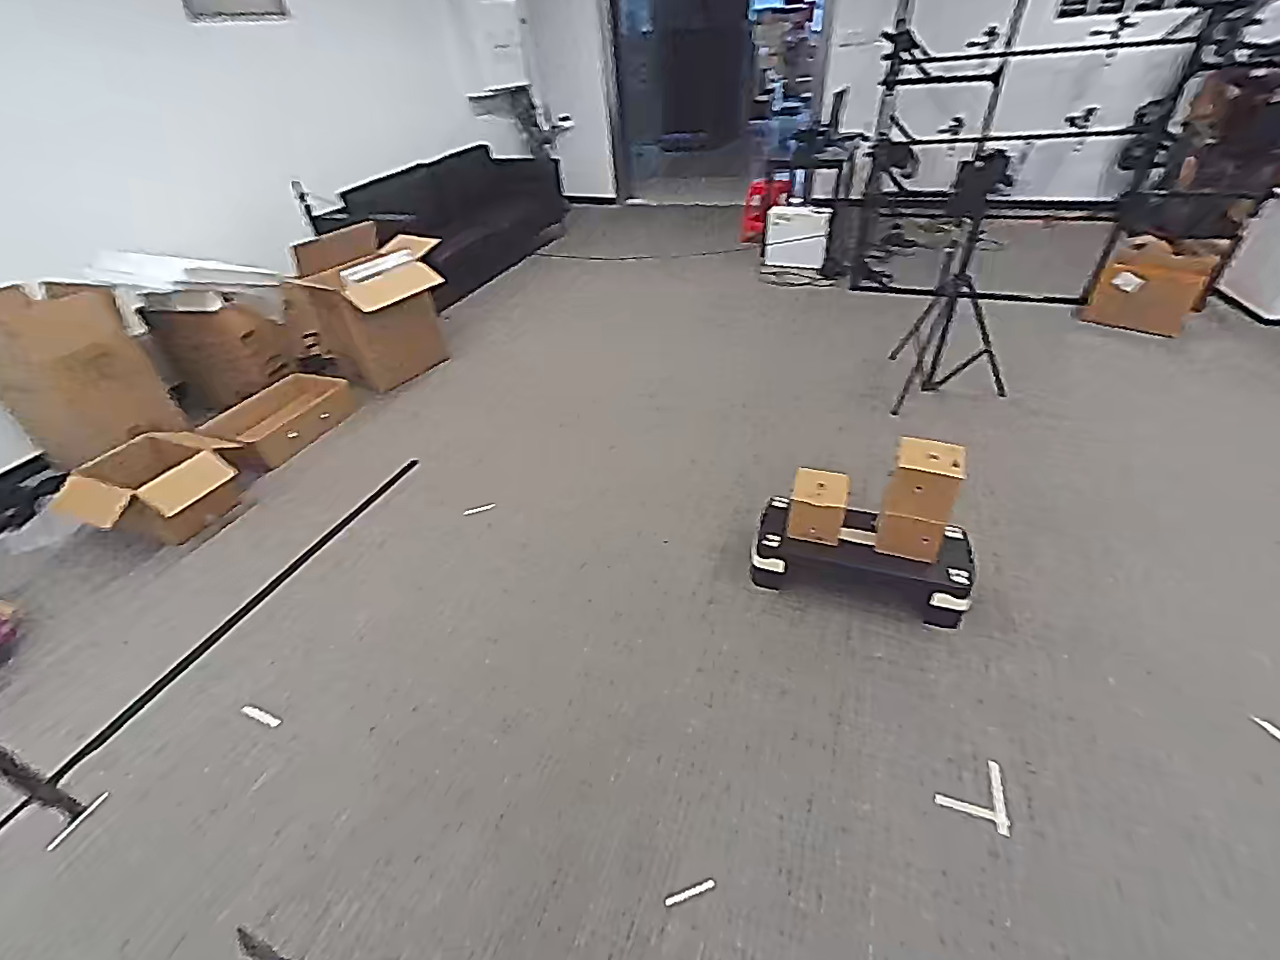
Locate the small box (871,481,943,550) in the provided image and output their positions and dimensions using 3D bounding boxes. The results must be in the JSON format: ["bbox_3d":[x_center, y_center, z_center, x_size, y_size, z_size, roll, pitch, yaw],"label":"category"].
[{"bbox_3d":[0.841,0.129,1.716,0.179,0.176,0.168,10,40,18],"label":"small box"}]

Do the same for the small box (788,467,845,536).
[{"bbox_3d":[0.578,0.083,1.801,0.168,0.176,0.179,9,41,18],"label":"small box"}]

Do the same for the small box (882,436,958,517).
[{"bbox_3d":[0.839,-0.009,1.628,0.179,0.176,0.168,12,42,21],"label":"small box"}]

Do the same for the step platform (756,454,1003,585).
[{"bbox_3d":[0.713,0.112,1.695,0.684,0.204,0.286,10,41,17],"label":"step platform"}]
